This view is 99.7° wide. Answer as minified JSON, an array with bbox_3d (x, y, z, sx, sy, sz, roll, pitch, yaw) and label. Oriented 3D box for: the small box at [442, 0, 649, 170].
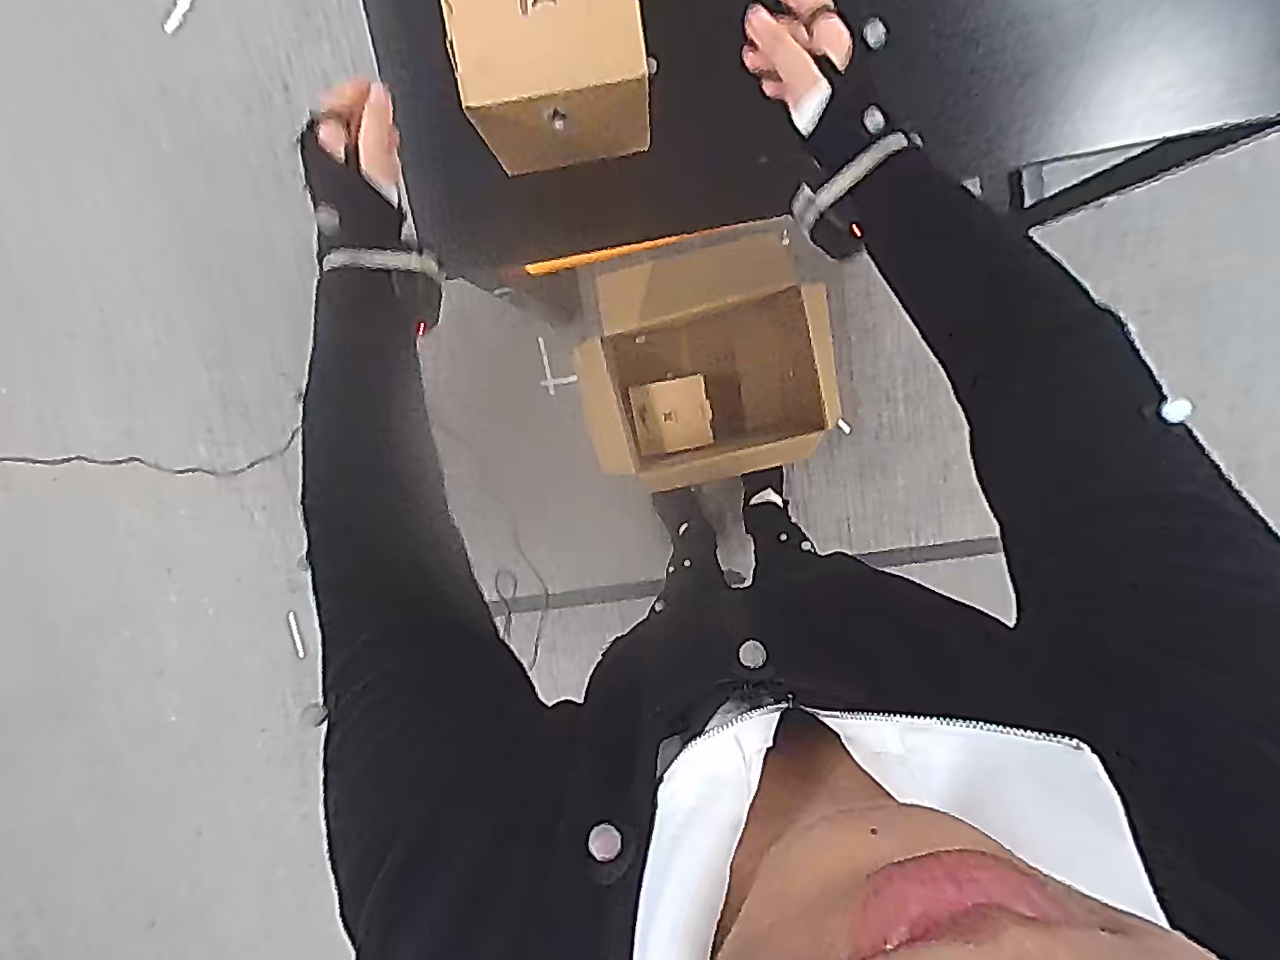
[{"bbox_3d":[-0.087,-0.444,0.554,0.179,0.176,0.168,-9,101,2],"label":"small box"}]
